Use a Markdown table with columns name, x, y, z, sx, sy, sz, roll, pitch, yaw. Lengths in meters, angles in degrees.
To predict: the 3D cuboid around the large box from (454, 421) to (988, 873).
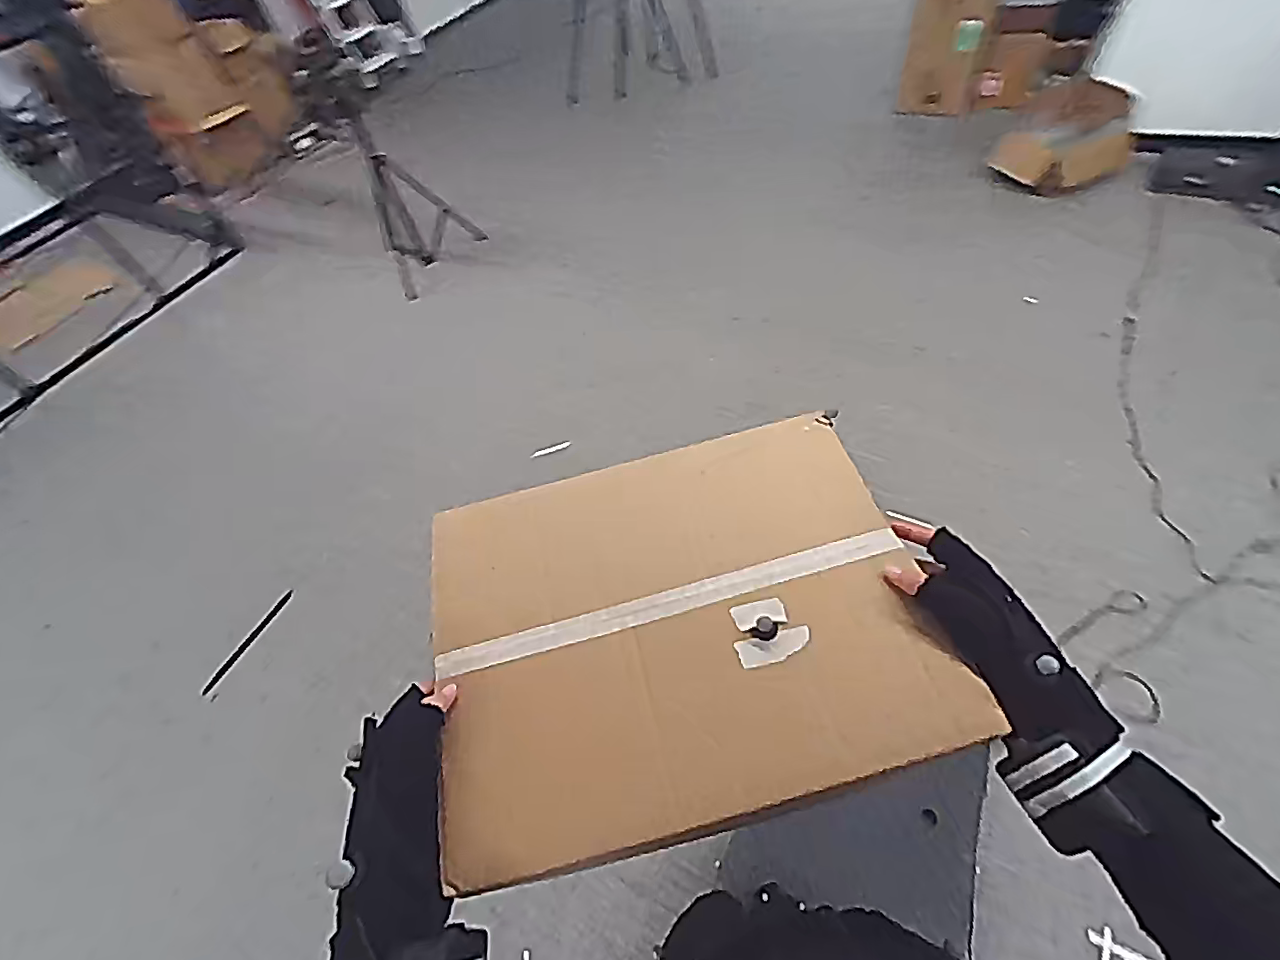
| name | x | y | z | sx | sy | sz | roll | pitch | yaw |
| --- | --- | --- | --- | --- | --- | --- | --- | --- | --- |
| large box | 0.050 | 0.192 | 0.595 | 0.408 | 0.320 | 0.320 | -15 | 55 | -2 |
